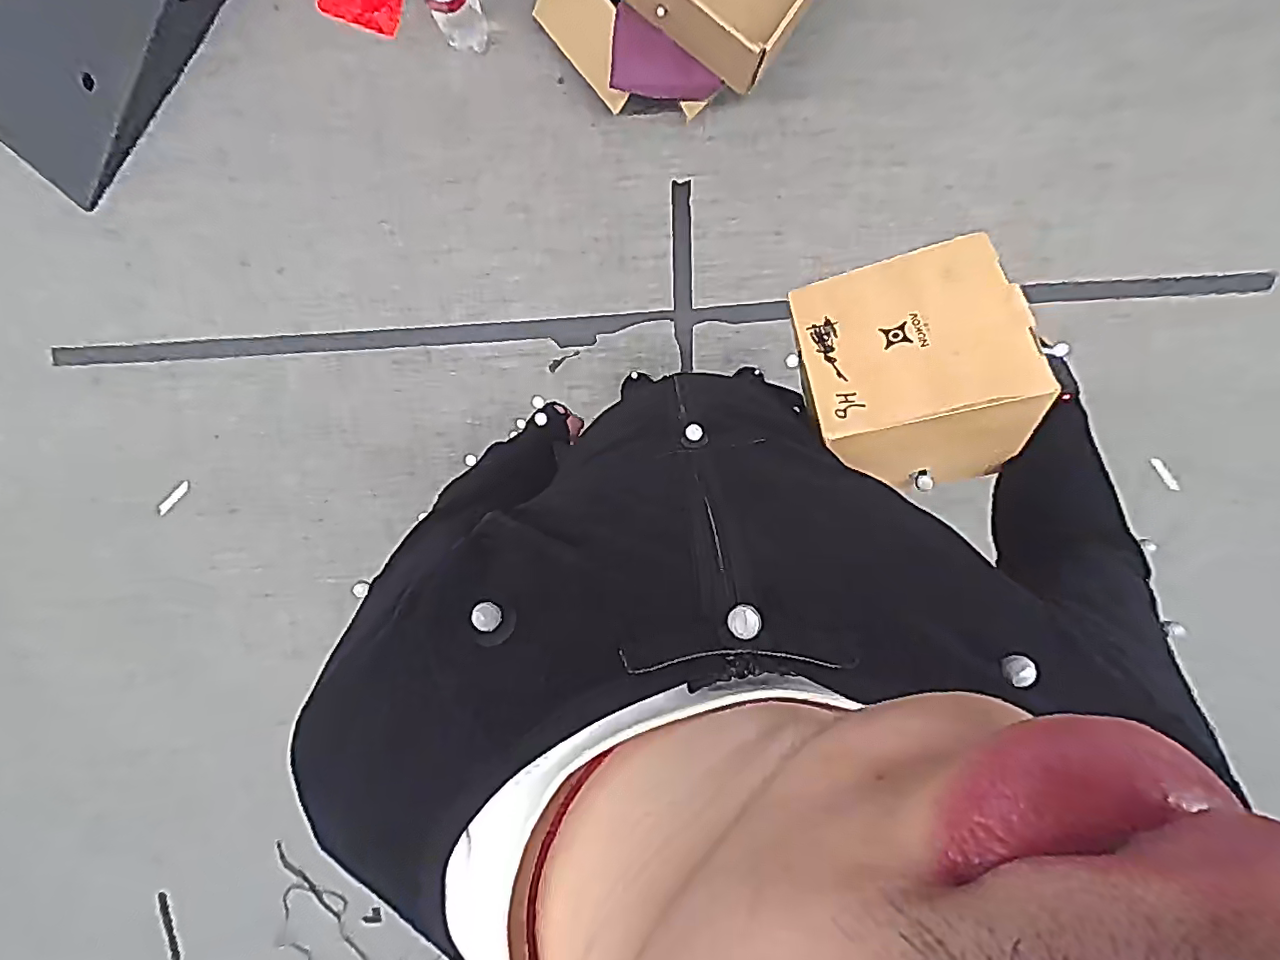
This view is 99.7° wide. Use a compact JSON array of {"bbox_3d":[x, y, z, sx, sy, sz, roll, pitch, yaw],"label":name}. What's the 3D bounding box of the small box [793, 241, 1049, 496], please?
[{"bbox_3d":[0.263,-0.098,0.550,0.179,0.176,0.168,-12,64,16],"label":"small box"}]
